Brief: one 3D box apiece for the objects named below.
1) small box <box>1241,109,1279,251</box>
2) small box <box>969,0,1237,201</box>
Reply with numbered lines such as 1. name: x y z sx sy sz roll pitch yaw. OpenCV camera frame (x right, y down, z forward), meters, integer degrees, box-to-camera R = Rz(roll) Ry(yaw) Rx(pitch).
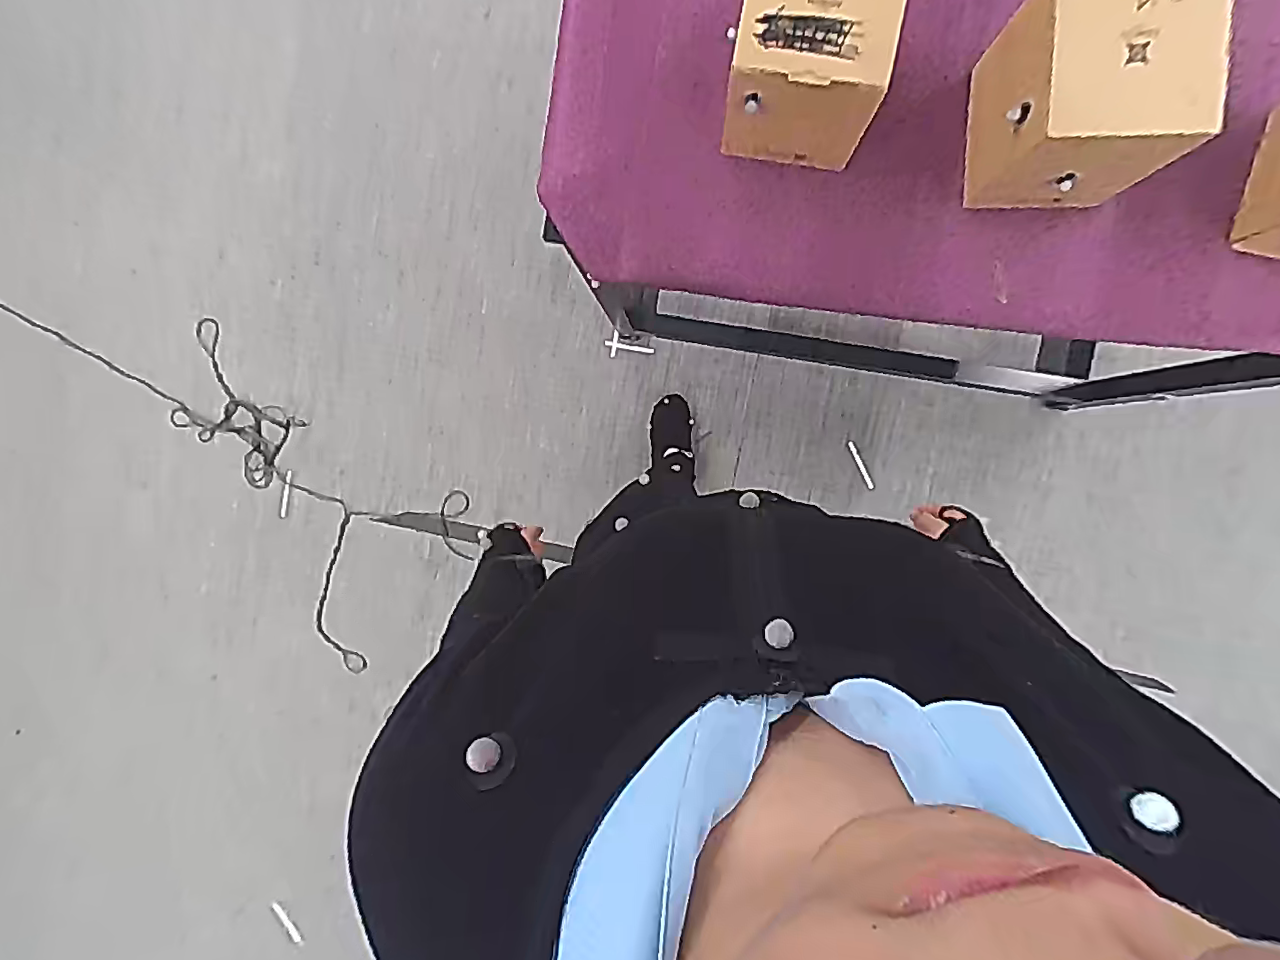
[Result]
1. small box: 0.837 -0.361 0.590 0.168 0.176 0.179 15 93 4
2. small box: 0.501 -0.437 0.613 0.168 0.176 0.179 2 93 4
